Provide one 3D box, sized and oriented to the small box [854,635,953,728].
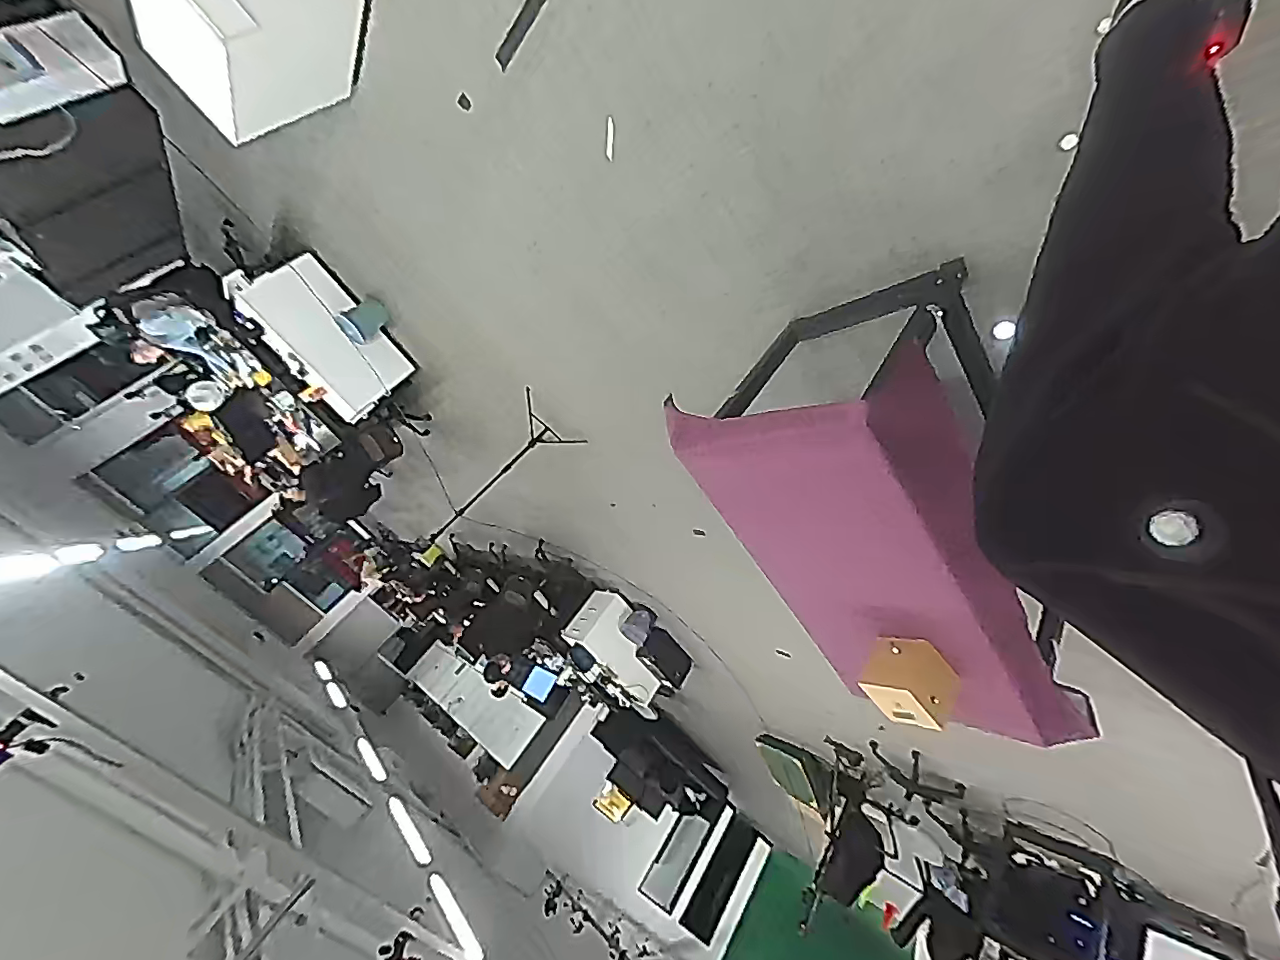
[{"bbox_3d":[0.758,0.569,1.545,0.179,0.176,0.168,47,151,-13],"label":"small box"}]
